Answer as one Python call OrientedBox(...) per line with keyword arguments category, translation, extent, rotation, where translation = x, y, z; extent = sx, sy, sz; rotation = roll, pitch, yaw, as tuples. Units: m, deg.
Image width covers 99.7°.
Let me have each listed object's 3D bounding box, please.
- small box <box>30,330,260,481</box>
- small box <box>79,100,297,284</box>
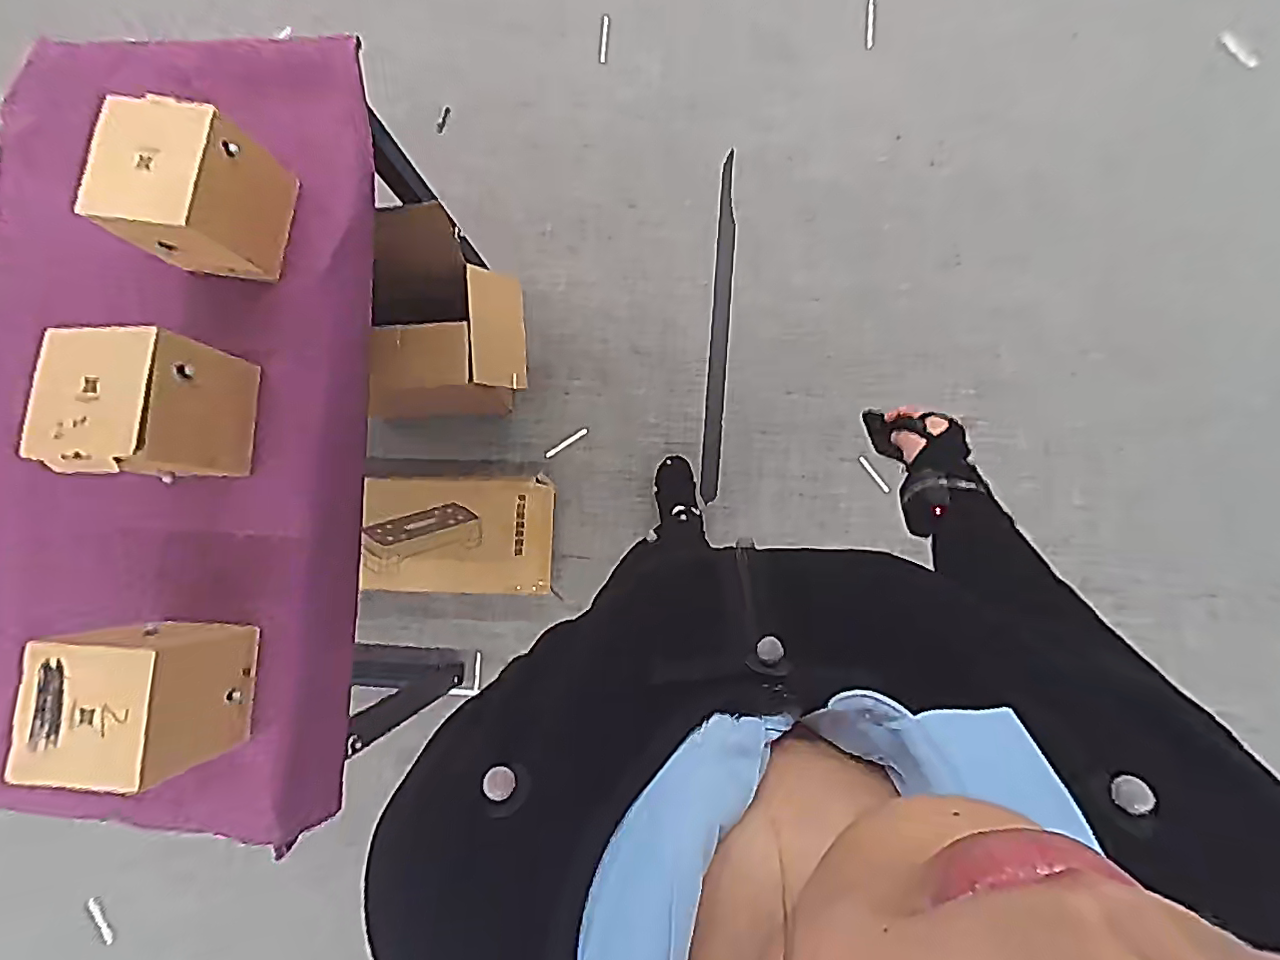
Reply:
OrientedBox(category="small box", translation=(-0.681, -0.097, 0.765), extent=(0.168, 0.176, 0.179), rotation=(1, 84, 7))
OrientedBox(category="small box", translation=(-0.648, -0.412, 0.799), extent=(0.168, 0.176, 0.179), rotation=(8, 84, 5))
